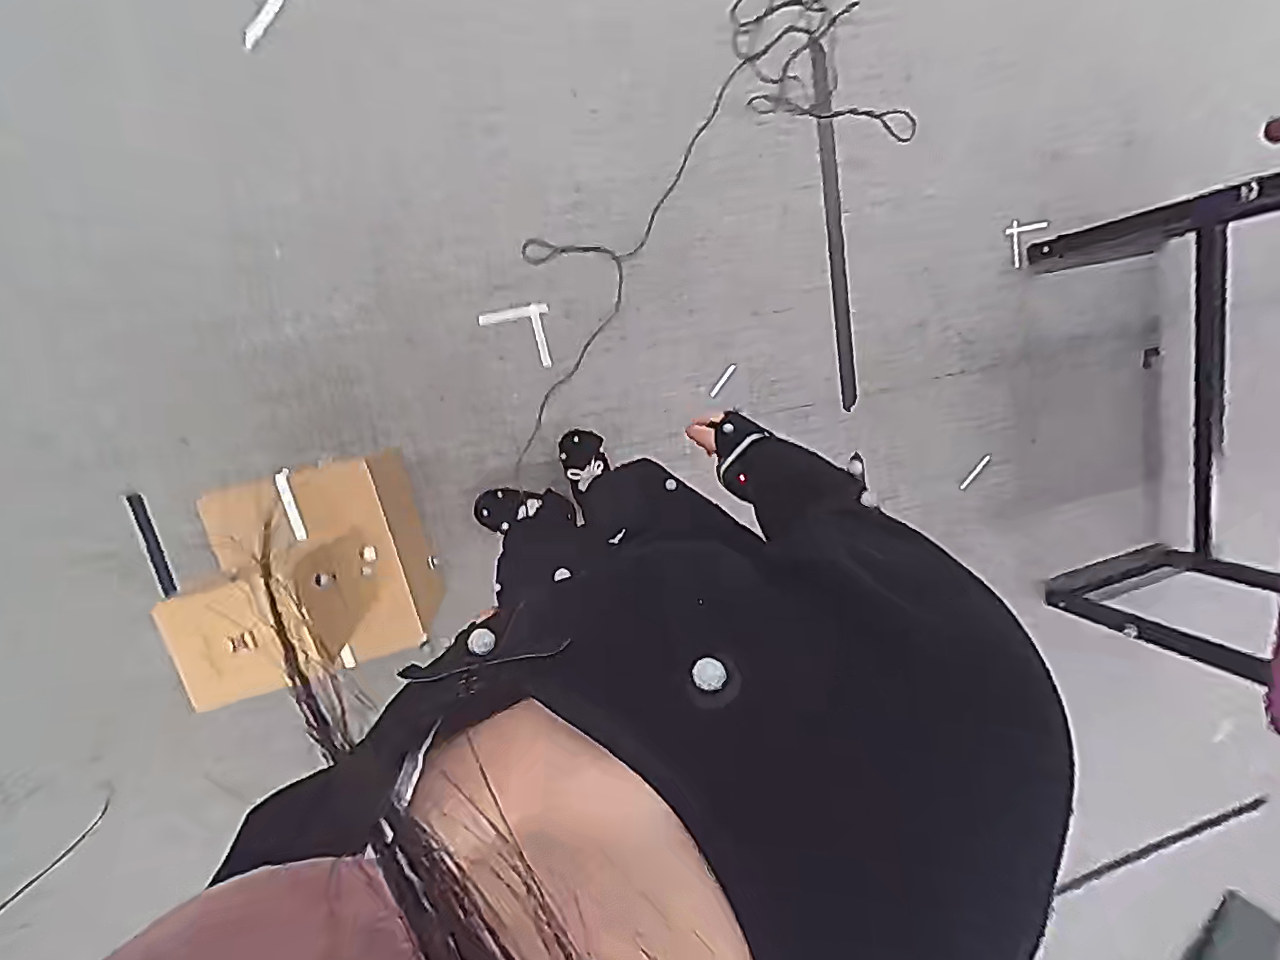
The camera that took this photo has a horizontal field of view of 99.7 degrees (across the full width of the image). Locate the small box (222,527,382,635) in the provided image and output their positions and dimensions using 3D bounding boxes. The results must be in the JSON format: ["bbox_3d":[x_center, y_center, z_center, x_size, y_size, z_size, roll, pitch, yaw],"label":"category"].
[{"bbox_3d":[-0.602,0.199,0.989,0.179,0.176,0.168,-16,101,-10],"label":"small box"}]

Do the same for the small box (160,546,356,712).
[{"bbox_3d":[-0.562,0.215,0.832,0.179,0.176,0.168,-17,100,-9],"label":"small box"}]
